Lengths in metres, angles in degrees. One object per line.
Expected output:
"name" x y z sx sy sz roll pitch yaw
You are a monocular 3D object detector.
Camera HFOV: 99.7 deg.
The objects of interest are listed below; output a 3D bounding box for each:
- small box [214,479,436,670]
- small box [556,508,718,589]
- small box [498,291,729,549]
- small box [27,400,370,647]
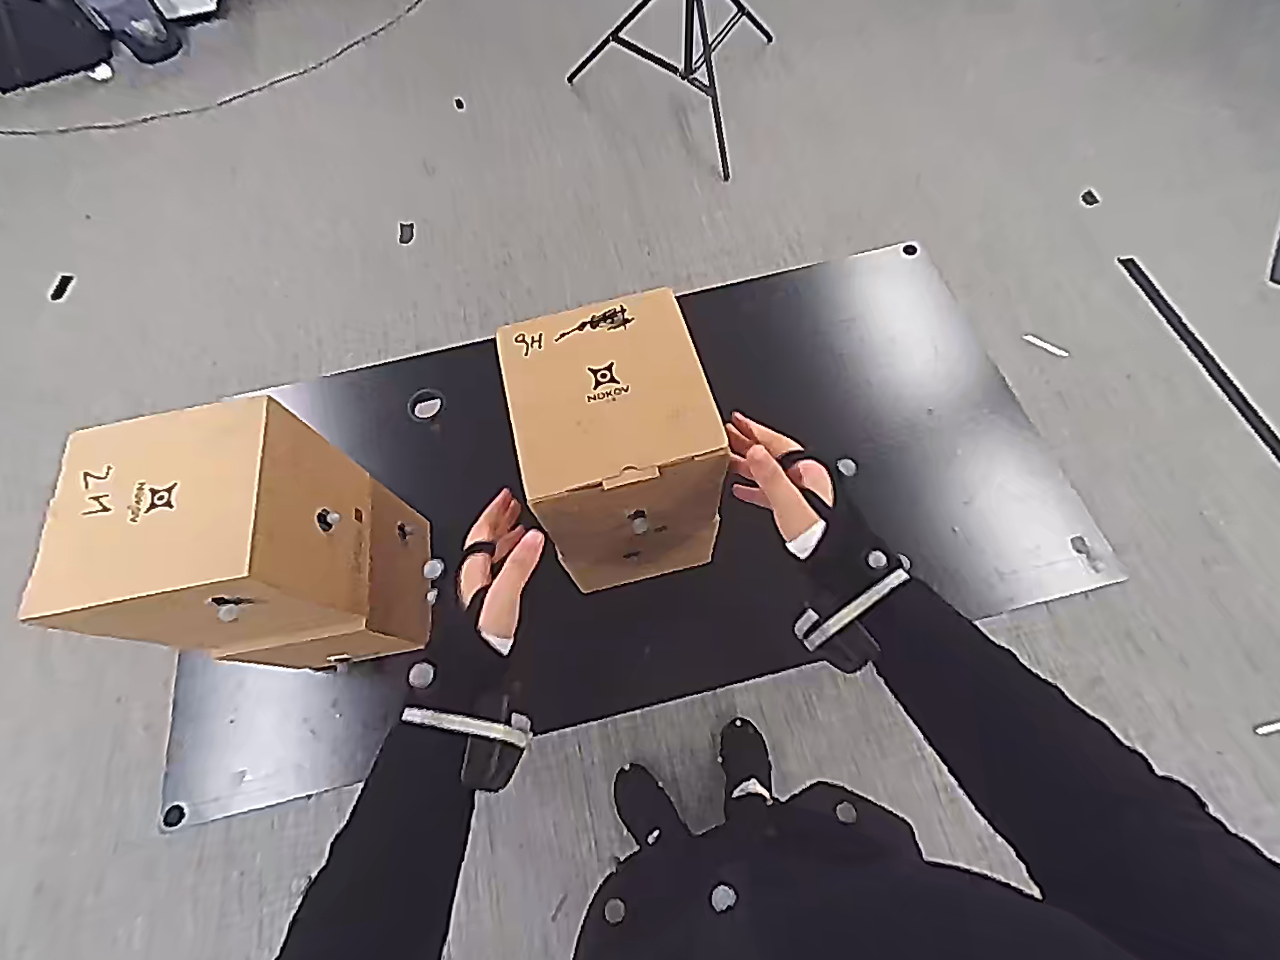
"small box" -0.361 0.121 0.654 0.168 0.176 0.179 -11 67 0
"small box" -0.012 0.025 0.671 0.179 0.176 0.168 -14 67 -3
"small box" -0.021 -0.043 0.524 0.168 0.176 0.179 -15 68 -2
"small box" -0.377 0.051 0.506 0.179 0.176 0.168 -11 66 0
